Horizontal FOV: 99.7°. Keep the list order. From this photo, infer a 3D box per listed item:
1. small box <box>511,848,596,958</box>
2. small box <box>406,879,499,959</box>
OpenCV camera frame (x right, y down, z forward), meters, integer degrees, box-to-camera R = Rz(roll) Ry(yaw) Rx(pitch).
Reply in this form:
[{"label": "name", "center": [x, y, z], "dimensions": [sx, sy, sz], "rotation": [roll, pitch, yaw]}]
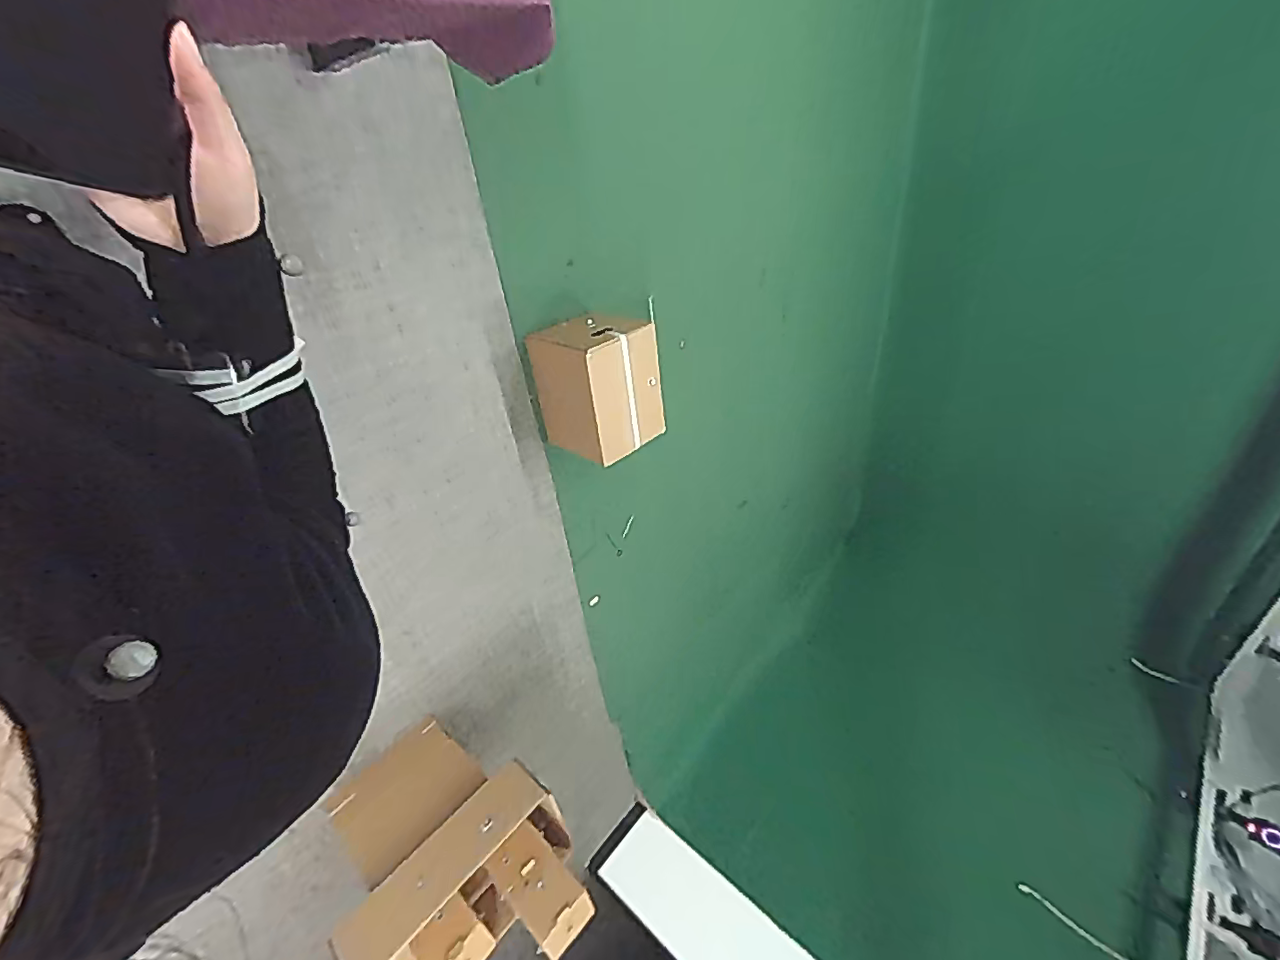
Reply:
[{"label": "small box", "center": [-0.257, 1.250, 1.609], "dimensions": [0.168, 0.176, 0.179], "rotation": [-35, 132, -34]}, {"label": "small box", "center": [-0.544, 1.316, 1.570], "dimensions": [0.168, 0.176, 0.179], "rotation": [-37, 132, -34]}]
